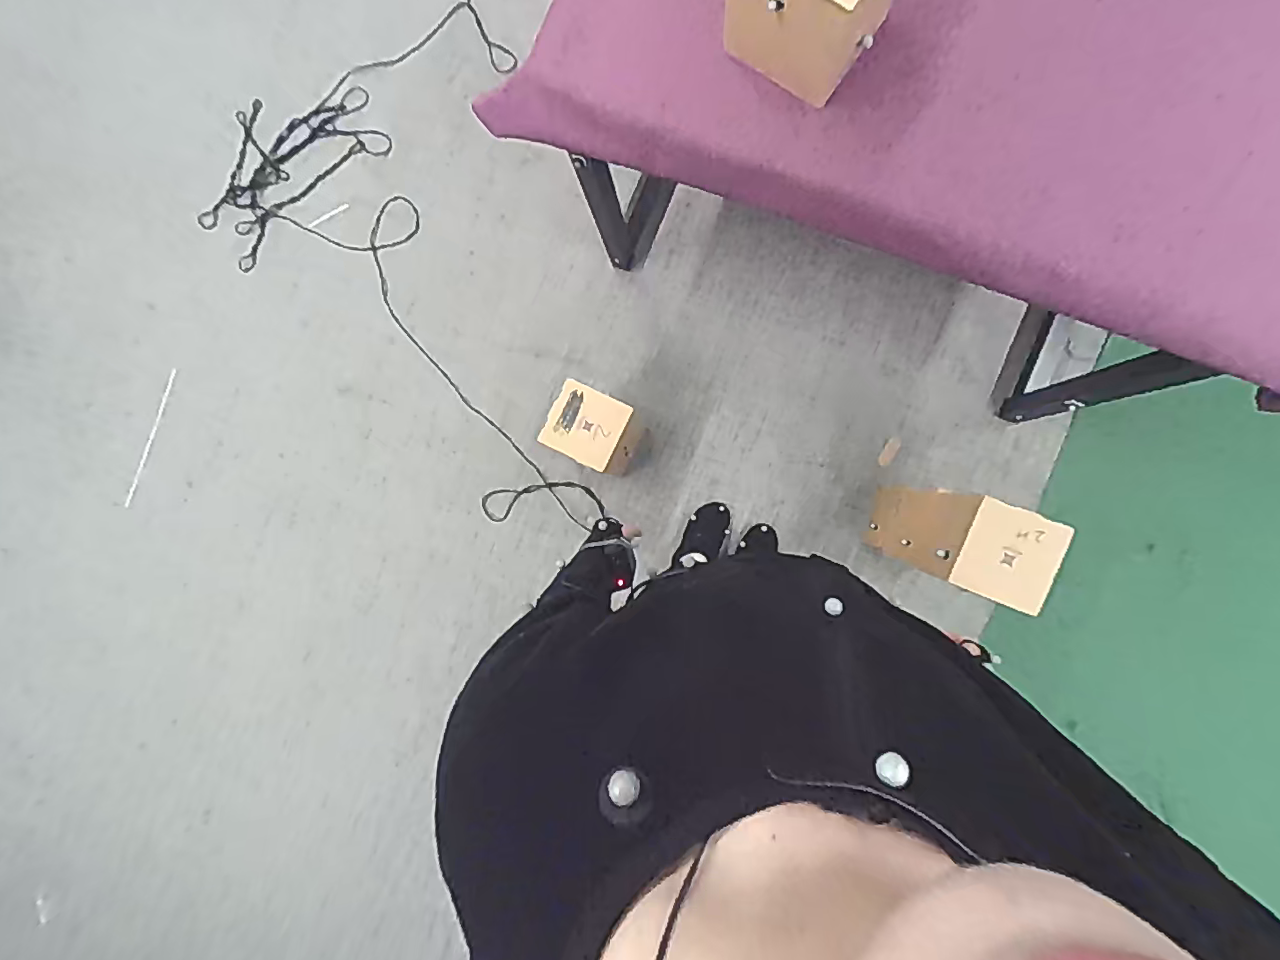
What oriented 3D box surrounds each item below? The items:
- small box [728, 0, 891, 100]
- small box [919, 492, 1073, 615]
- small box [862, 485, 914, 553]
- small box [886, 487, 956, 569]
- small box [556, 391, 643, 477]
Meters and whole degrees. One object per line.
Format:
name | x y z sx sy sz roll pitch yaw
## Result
small box | 0.231 -0.661 0.718 0.179 0.176 0.168 36 93 6
small box | 0.672 0.133 1.048 0.168 0.176 0.179 22 92 6
small box | 0.695 0.122 1.374 0.179 0.176 0.168 24 91 6
small box | 0.681 0.122 1.212 0.168 0.176 0.179 21 92 6
small box | -0.100 -0.118 1.470 0.168 0.176 0.179 26 92 6
